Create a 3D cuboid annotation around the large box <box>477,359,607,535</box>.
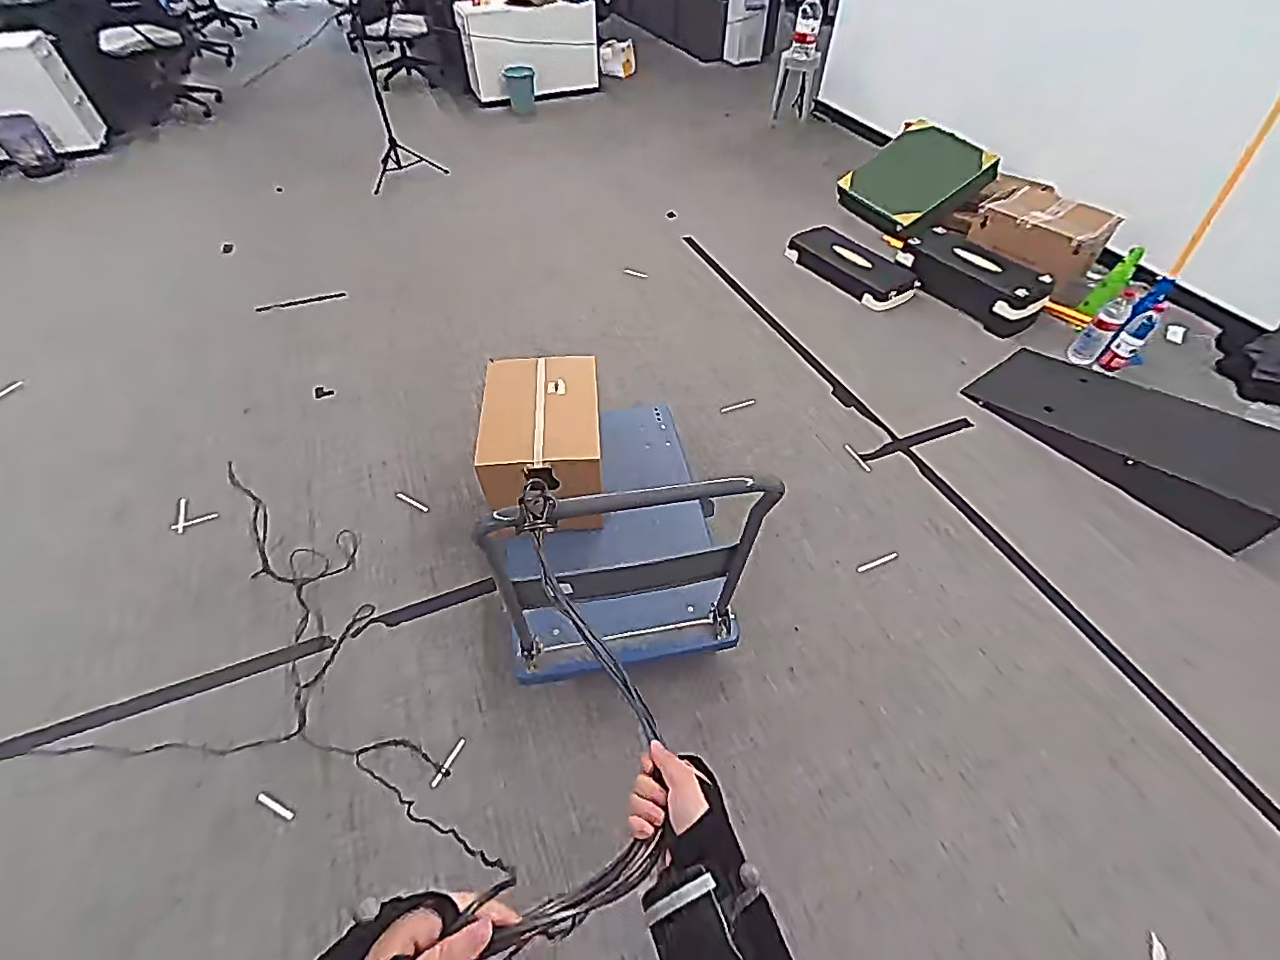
[{"bbox_3d":[-0.266,-0.095,1.561,0.320,0.320,0.408,-3,51,-4],"label":"large box"}]
